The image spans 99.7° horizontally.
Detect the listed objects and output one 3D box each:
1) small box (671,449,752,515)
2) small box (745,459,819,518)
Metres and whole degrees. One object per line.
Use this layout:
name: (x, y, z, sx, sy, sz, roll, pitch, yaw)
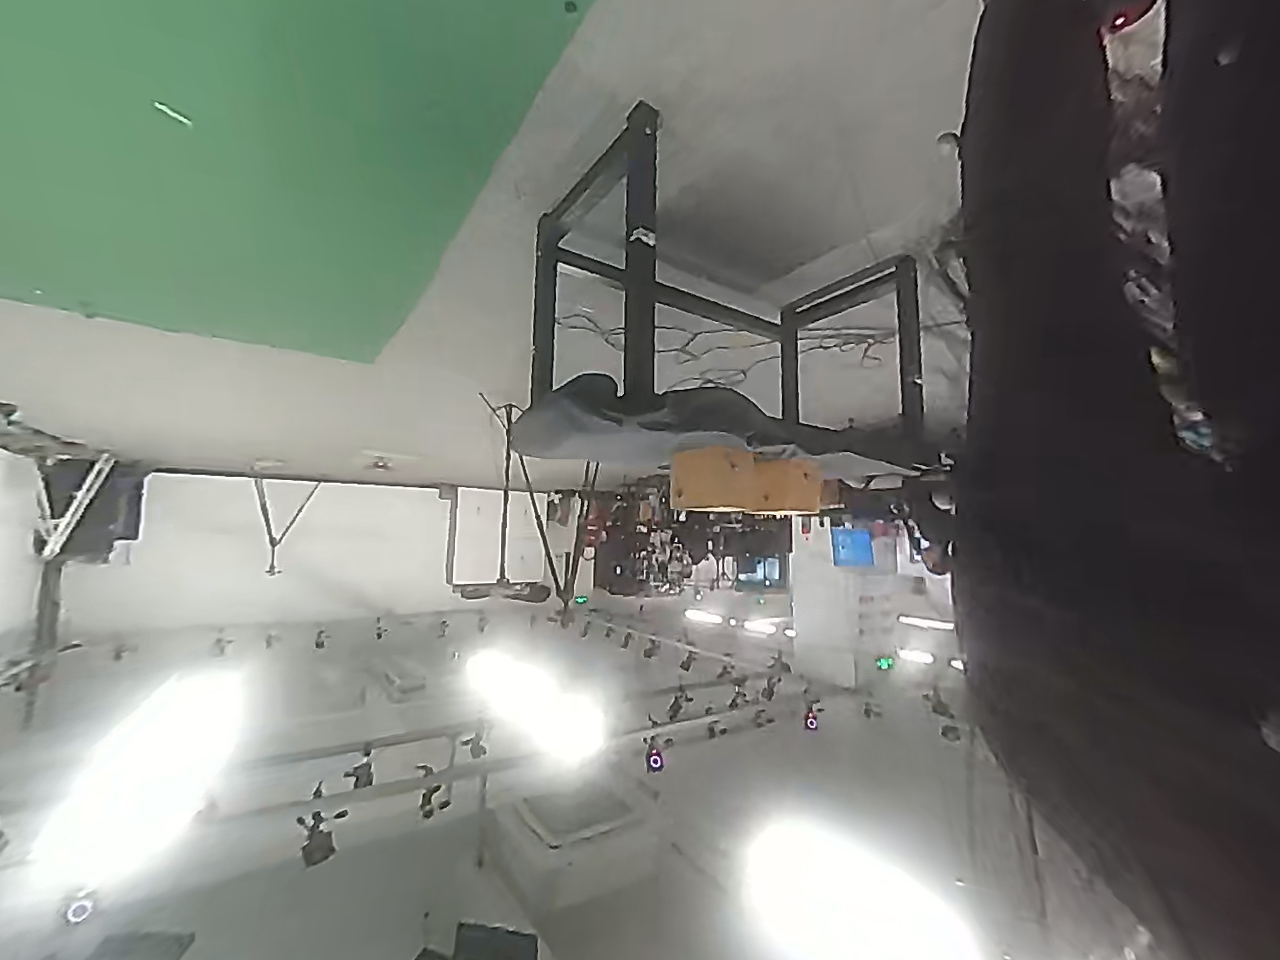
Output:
small box: (0.207, 0.010, 1.549, 0.168, 0.176, 0.179, 5, 172, -36)
small box: (0.452, 0.031, 1.718, 0.168, 0.176, 0.179, 6, 172, -35)
